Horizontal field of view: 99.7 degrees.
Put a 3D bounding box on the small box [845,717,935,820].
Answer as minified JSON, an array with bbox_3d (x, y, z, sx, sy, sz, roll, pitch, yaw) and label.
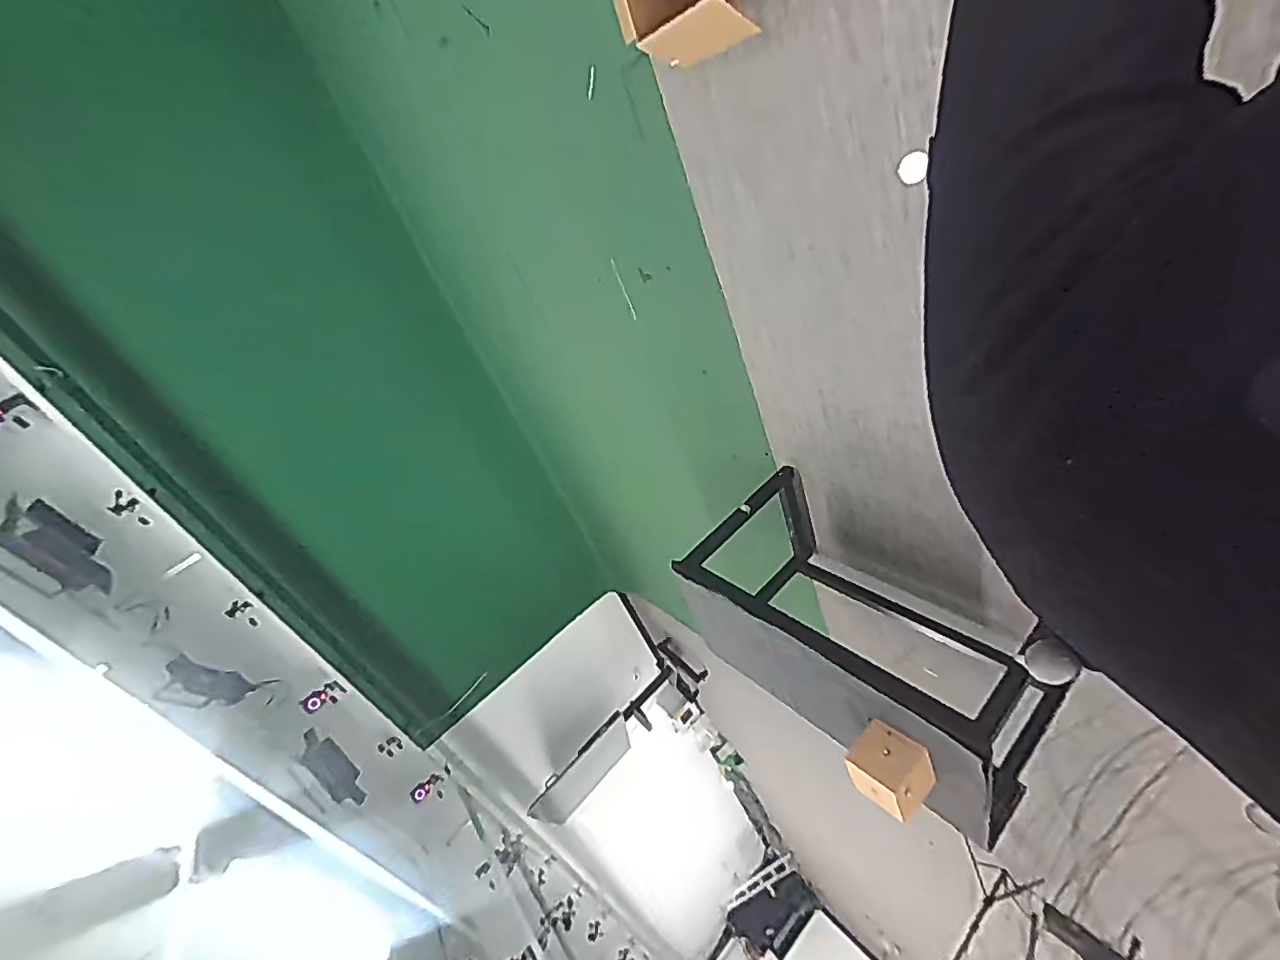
[{"bbox_3d":[0.744,0.847,1.603,0.168,0.176,0.179,20,144,54],"label":"small box"}]
